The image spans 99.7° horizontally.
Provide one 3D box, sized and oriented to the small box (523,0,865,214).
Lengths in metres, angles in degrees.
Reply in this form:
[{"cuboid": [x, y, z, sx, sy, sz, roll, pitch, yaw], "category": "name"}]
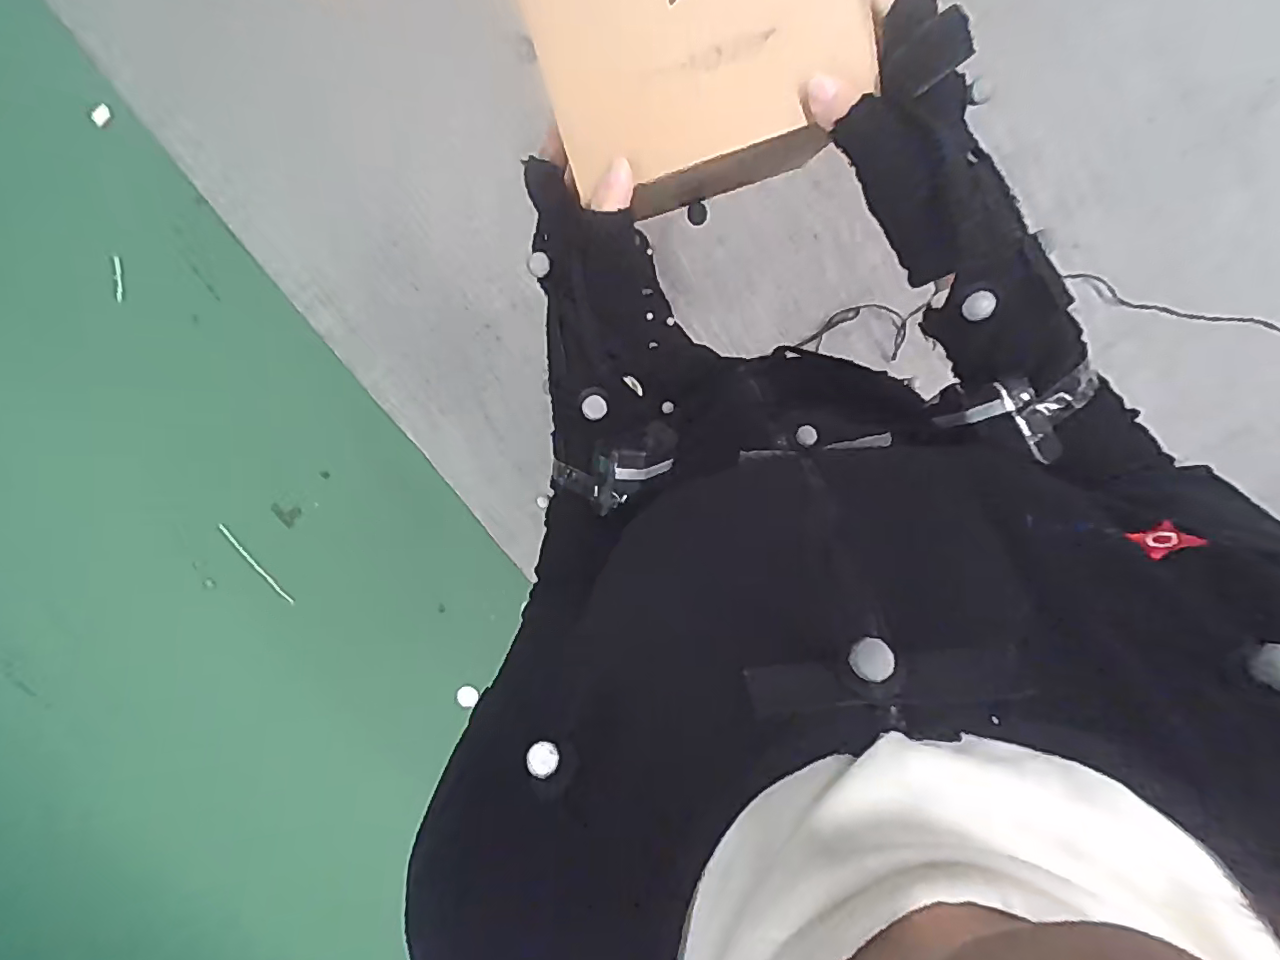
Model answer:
[{"cuboid": [0.020, -0.293, 0.343, 0.168, 0.176, 0.179, -15, 108, 8], "category": "small box"}]
